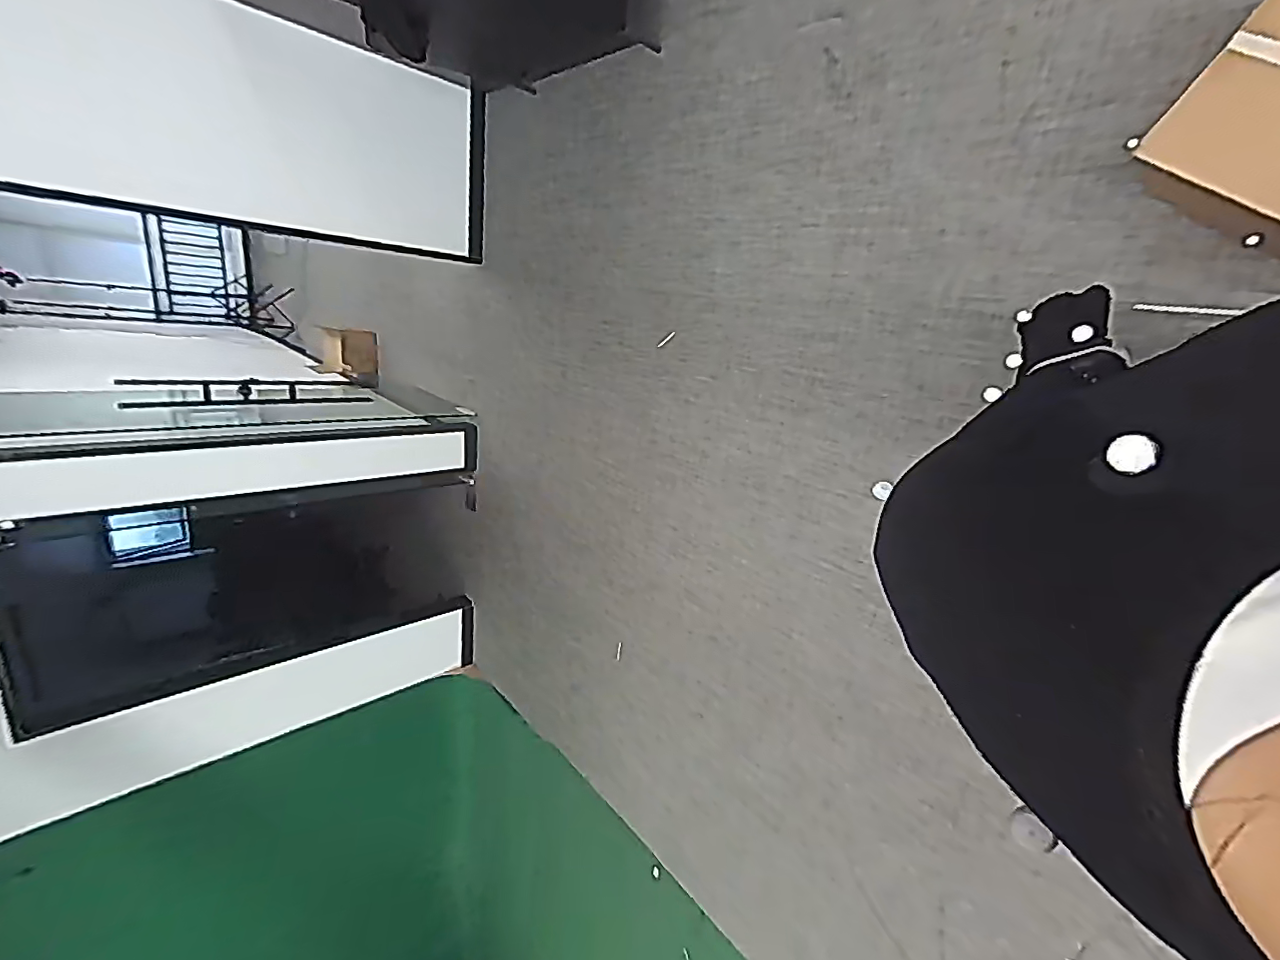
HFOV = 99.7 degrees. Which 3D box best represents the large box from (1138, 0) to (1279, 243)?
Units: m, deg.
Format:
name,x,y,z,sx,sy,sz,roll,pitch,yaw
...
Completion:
name,x,y,z,sx,sy,sz,roll,pitch,yaw
large box,1.081,-0.521,0.787,0.408,0.320,0.320,53,131,28
